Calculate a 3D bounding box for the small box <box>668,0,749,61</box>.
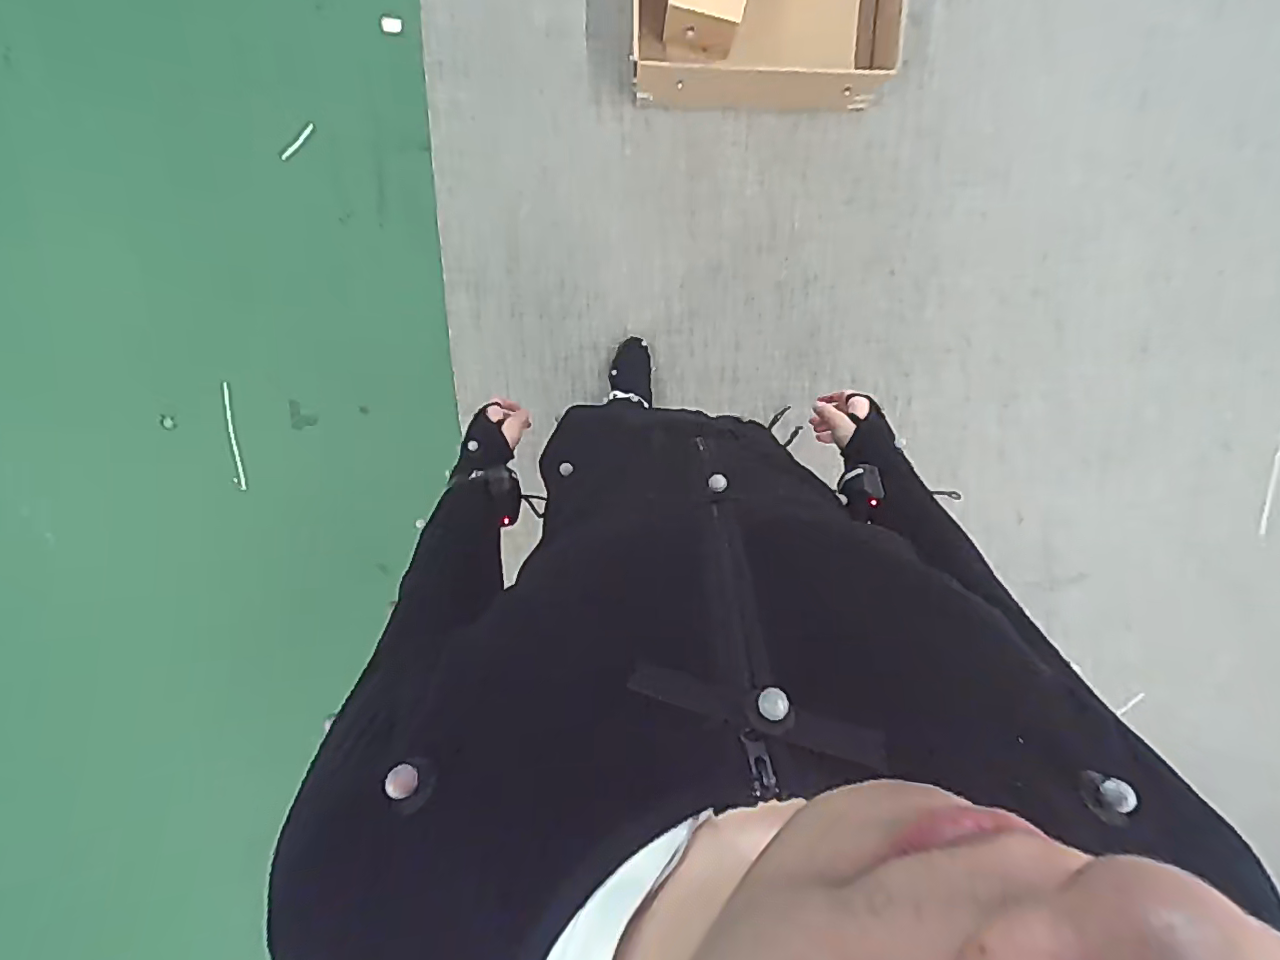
[{"bbox_3d":[0.163,-1.109,1.235,0.168,0.176,0.179,11,101,-5],"label":"small box"}]
